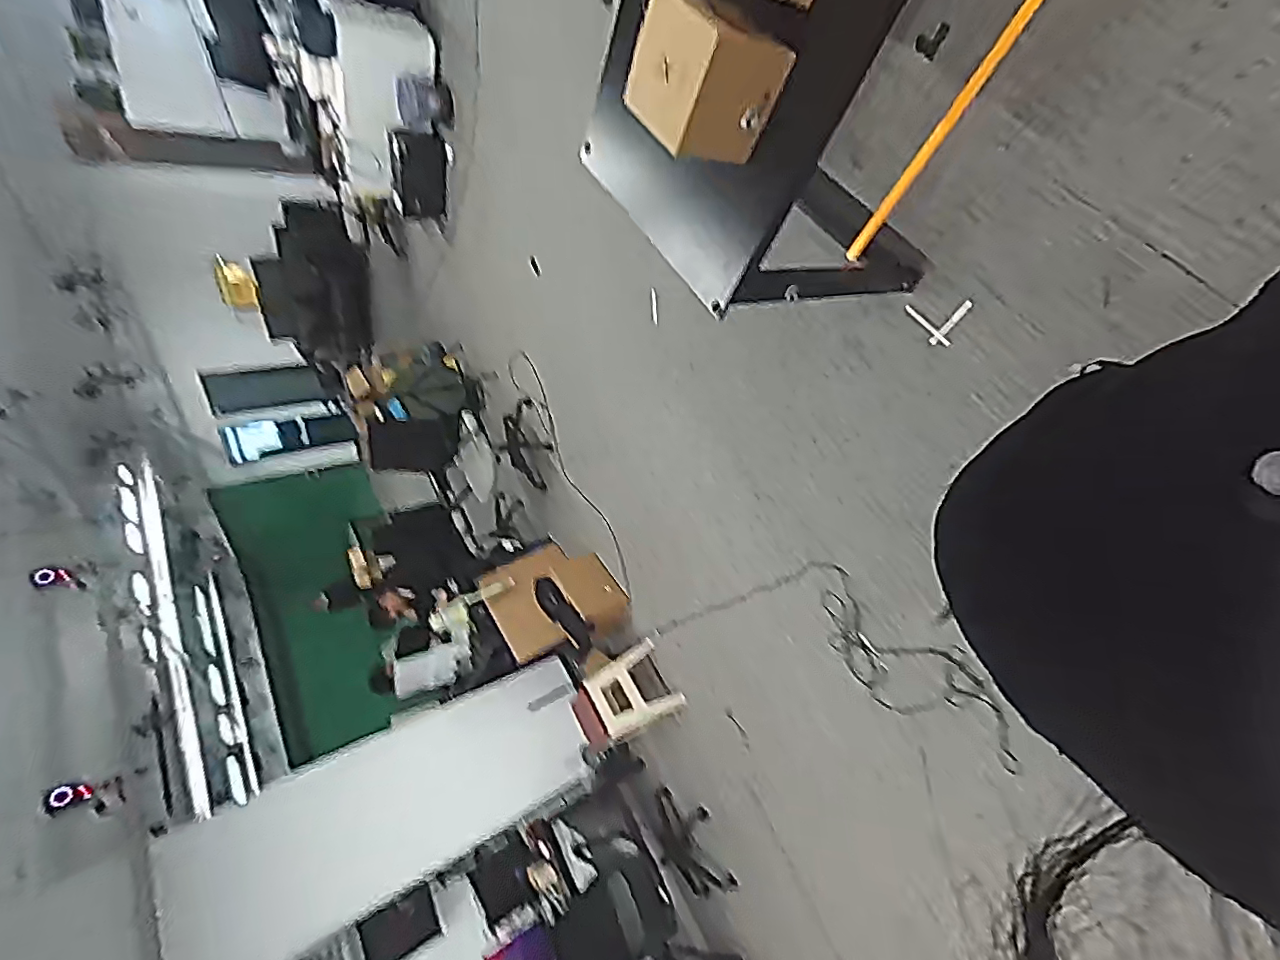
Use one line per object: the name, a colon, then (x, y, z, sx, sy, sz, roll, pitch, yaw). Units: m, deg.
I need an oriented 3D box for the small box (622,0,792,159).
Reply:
small box: (0.102, -0.639, 0.864, 0.179, 0.176, 0.168, 57, 145, 24)
